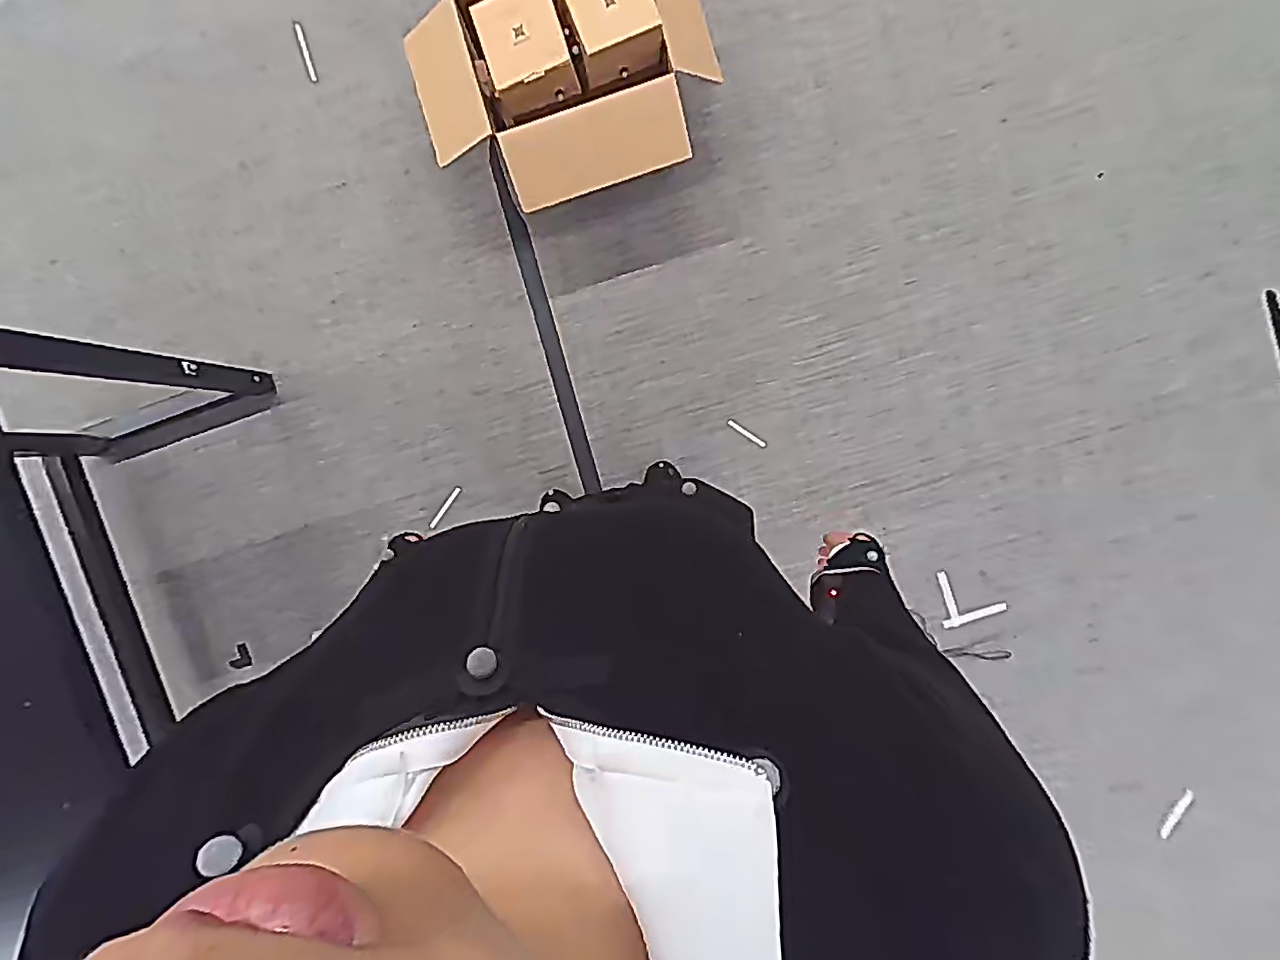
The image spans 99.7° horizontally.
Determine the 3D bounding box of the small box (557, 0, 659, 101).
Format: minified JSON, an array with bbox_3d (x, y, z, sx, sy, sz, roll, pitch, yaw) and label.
[{"bbox_3d":[-0.068,-0.957,1.155,0.168,0.176,0.179,-23,93,-1],"label":"small box"}]
